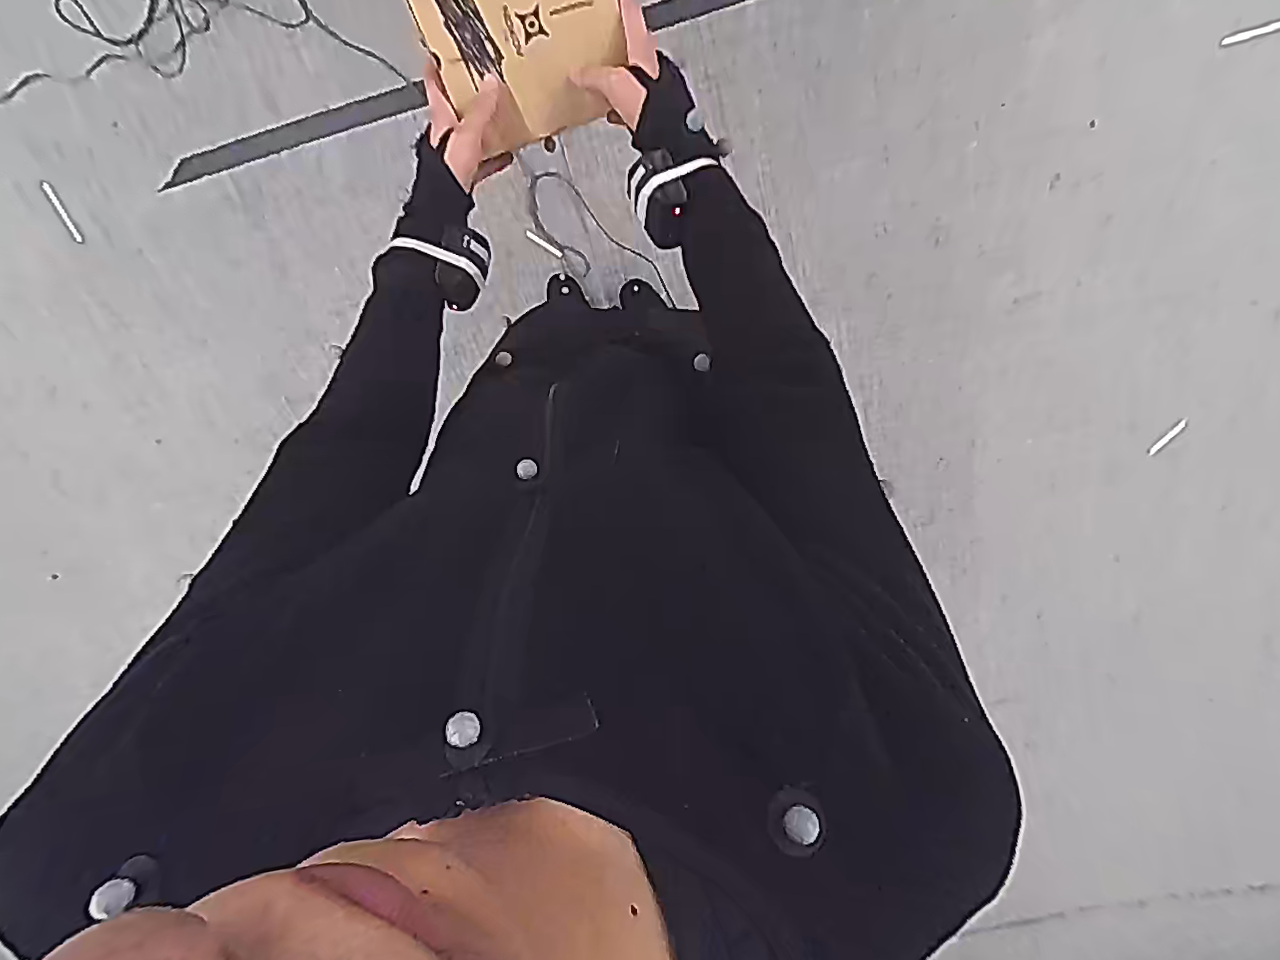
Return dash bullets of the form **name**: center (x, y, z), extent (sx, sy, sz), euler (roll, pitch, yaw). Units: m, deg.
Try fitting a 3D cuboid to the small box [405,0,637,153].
- **small box**: center (-0.115, -0.445, 0.541), extent (0.179, 0.176, 0.168), euler (-19, 123, 3)
